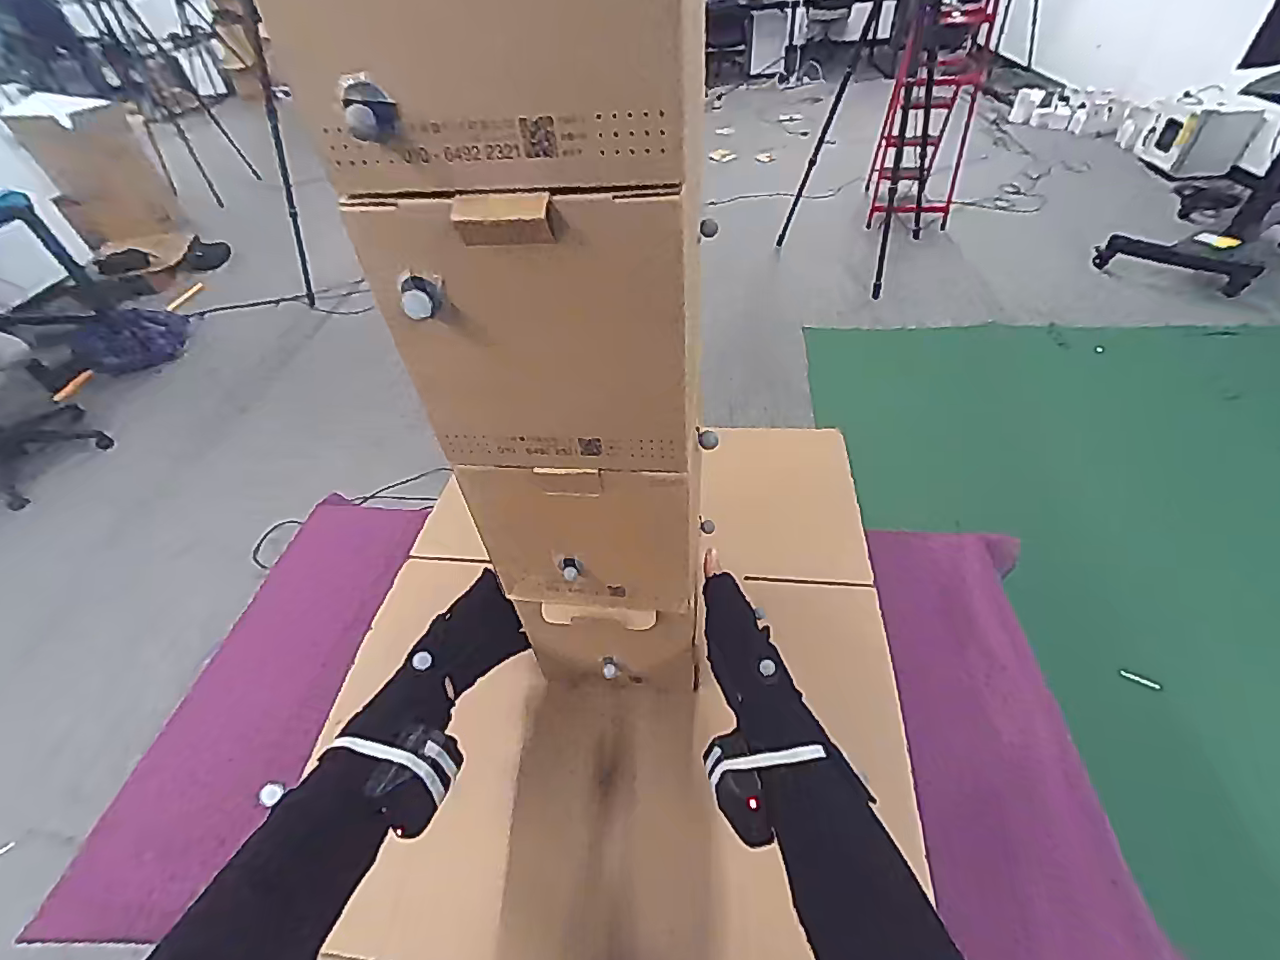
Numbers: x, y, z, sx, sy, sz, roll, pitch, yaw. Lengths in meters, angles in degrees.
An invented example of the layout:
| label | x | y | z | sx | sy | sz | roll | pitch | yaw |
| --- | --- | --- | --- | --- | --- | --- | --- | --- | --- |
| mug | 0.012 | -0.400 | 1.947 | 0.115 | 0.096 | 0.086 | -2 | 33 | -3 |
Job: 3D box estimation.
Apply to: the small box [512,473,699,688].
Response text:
| label | x | y | z | sx | sy | sz | roll | pitch | yaw |
| --- | --- | --- | --- | --- | --- | --- | --- | --- | --- |
| small box | -0.023 | 0.103 | 0.597 | 0.168 | 0.176 | 0.179 | 2 | 45 | 8 |

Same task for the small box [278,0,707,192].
| label | x | y | z | sx | sy | sz | roll | pitch | yaw |
| --- | --- | --- | --- | --- | --- | --- | --- | --- | --- |
| small box | -0.055 | -0.247 | 0.253 | 0.168 | 0.176 | 0.179 | 3 | 44 | 8 |

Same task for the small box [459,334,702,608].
| label | x | y | z | sx | sy | sz | roll | pitch | yaw |
| --- | --- | --- | --- | --- | --- | --- | --- | --- | --- |
| small box | -0.034 | -0.011 | 0.483 | 0.168 | 0.176 | 0.179 | 3 | 46 | 8 |
